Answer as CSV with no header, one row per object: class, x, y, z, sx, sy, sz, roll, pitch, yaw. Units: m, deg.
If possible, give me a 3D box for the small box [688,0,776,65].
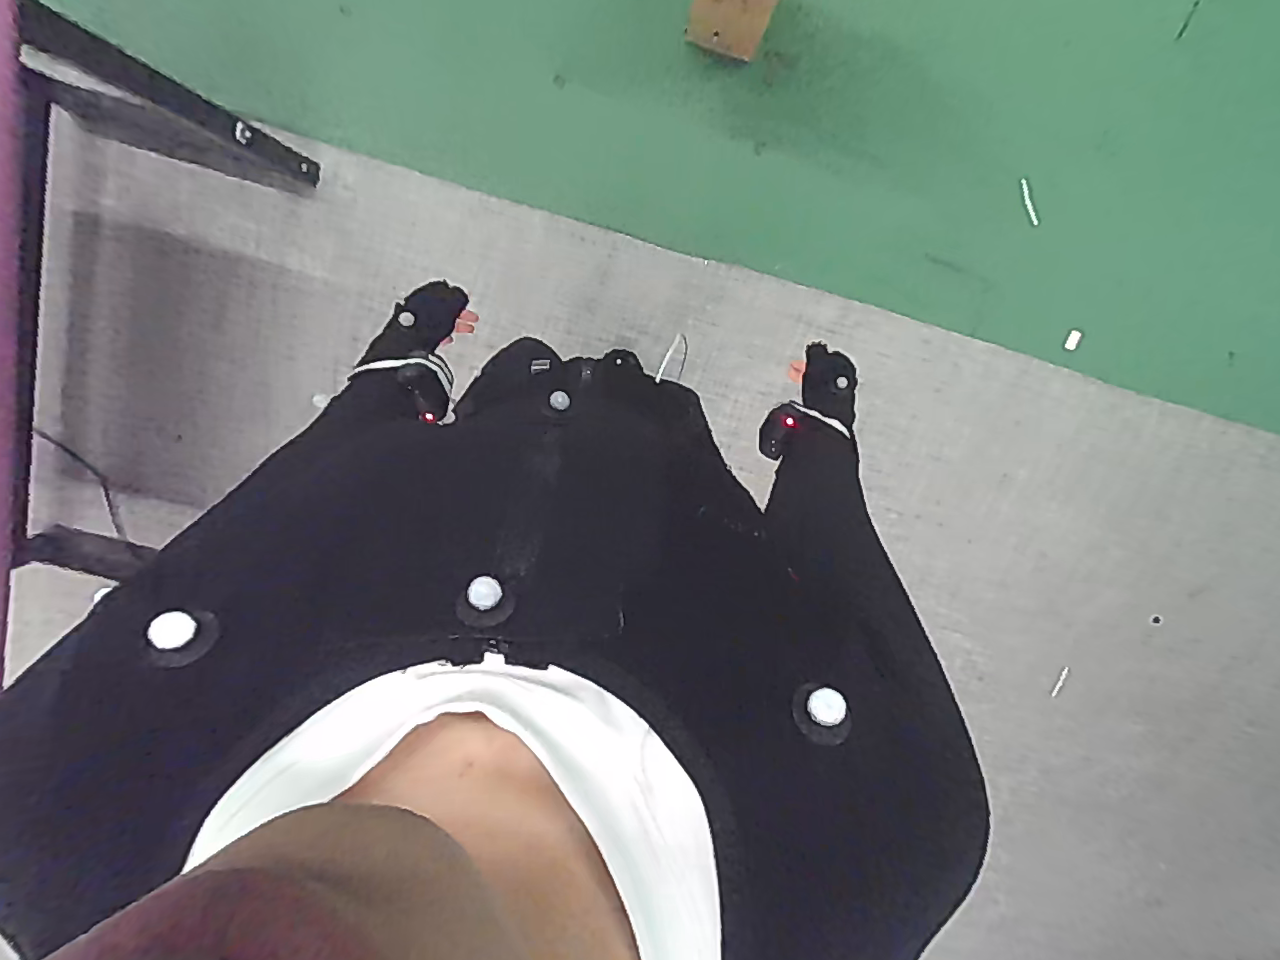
small box,0.208,-1.055,1.165,0.168,0.176,0.179,16,103,-5
